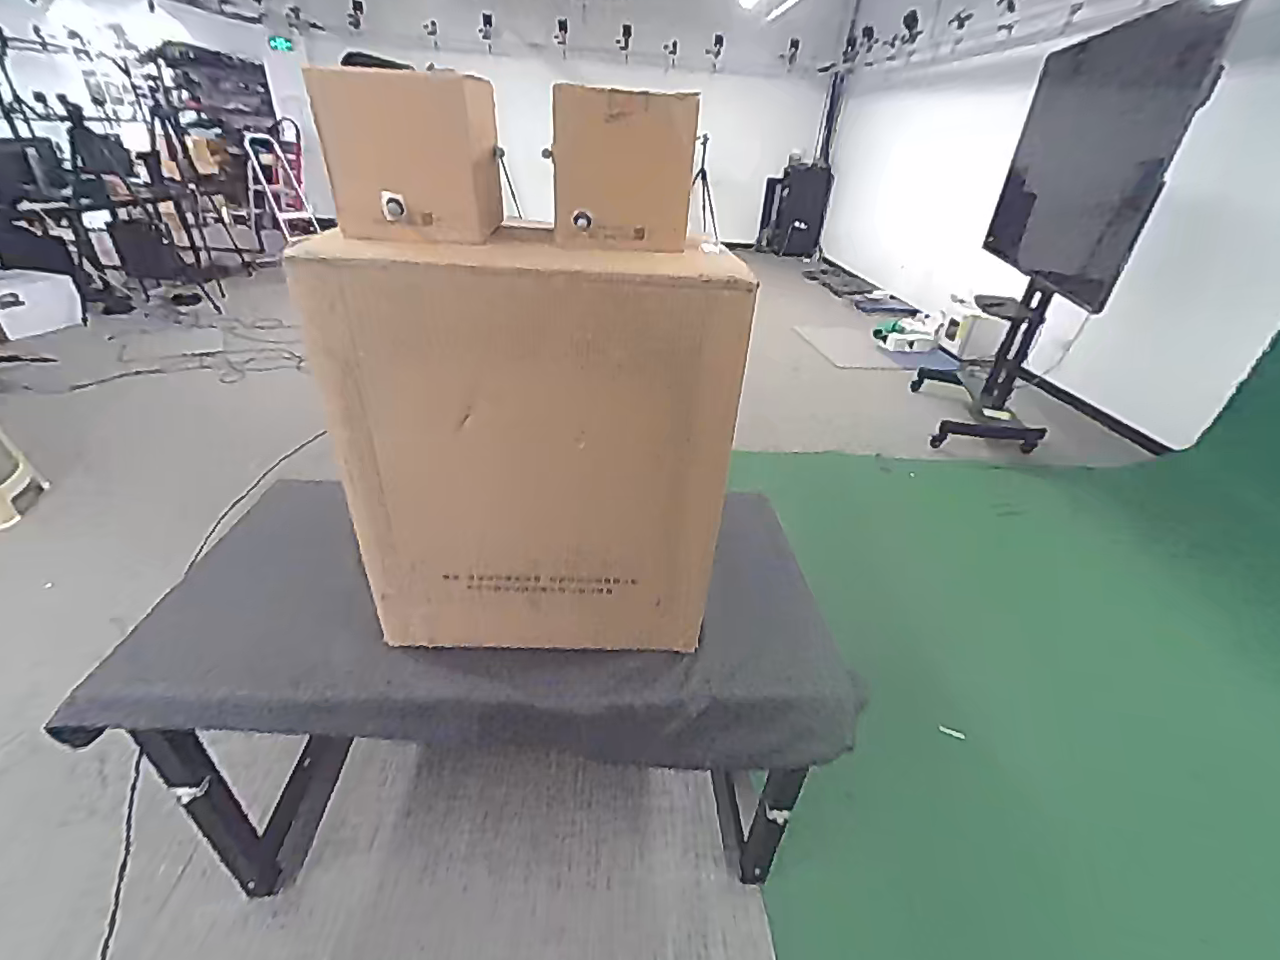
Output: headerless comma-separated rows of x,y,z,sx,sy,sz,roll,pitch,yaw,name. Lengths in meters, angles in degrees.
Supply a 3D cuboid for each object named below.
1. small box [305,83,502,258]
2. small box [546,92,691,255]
-0.274,-0.387,0.677,0.168,0.176,0.179,-2,35,-3,small box
-0.034,-0.398,0.707,0.168,0.176,0.179,-2,33,-8,small box
